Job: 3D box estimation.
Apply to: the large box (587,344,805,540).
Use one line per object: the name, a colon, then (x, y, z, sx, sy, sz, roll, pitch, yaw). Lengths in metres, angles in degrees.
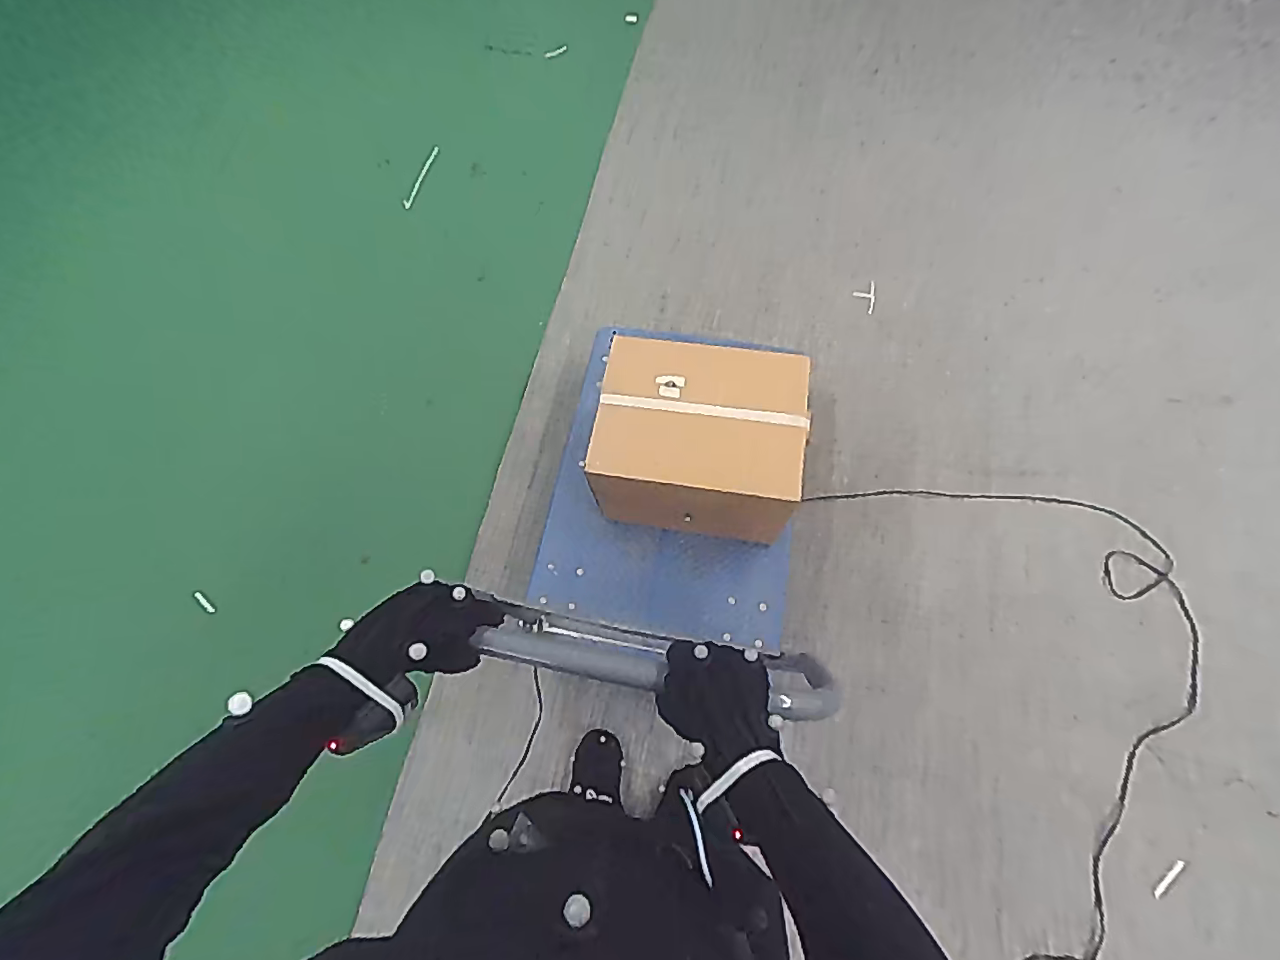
large box: (0.131, -0.071, 1.198, 0.408, 0.320, 0.320, 7, 69, 9)
